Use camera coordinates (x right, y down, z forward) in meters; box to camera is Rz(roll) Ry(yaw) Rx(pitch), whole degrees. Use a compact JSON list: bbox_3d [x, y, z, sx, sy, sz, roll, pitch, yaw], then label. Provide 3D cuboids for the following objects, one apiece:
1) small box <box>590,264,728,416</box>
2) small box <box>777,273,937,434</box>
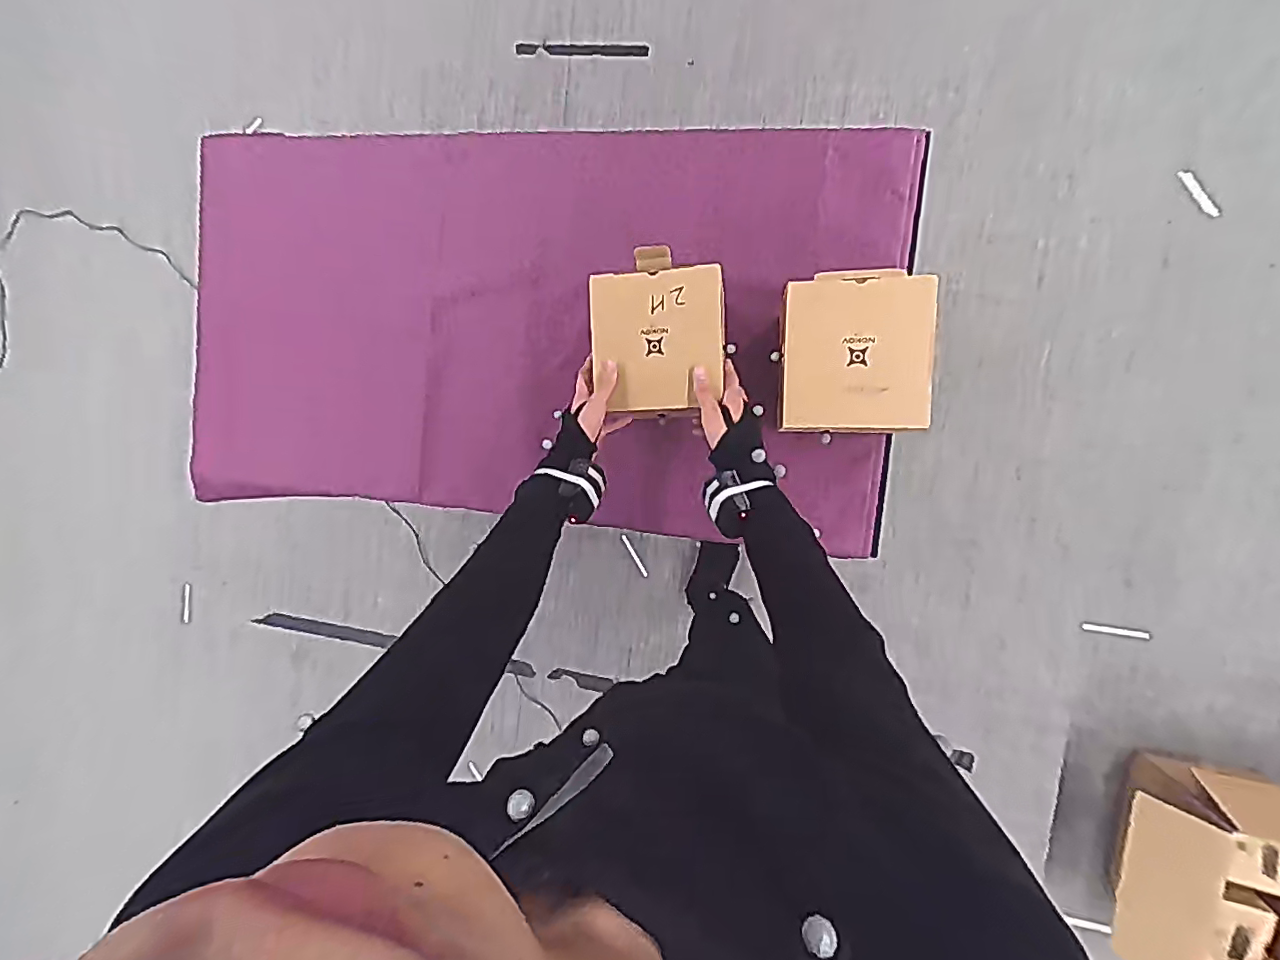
[{"bbox_3d":[0.035,-0.180,0.750,0.168,0.176,0.179,-1,93,11],"label":"small box"},{"bbox_3d":[0.269,-0.154,0.707,0.168,0.176,0.179,2,93,12],"label":"small box"}]
